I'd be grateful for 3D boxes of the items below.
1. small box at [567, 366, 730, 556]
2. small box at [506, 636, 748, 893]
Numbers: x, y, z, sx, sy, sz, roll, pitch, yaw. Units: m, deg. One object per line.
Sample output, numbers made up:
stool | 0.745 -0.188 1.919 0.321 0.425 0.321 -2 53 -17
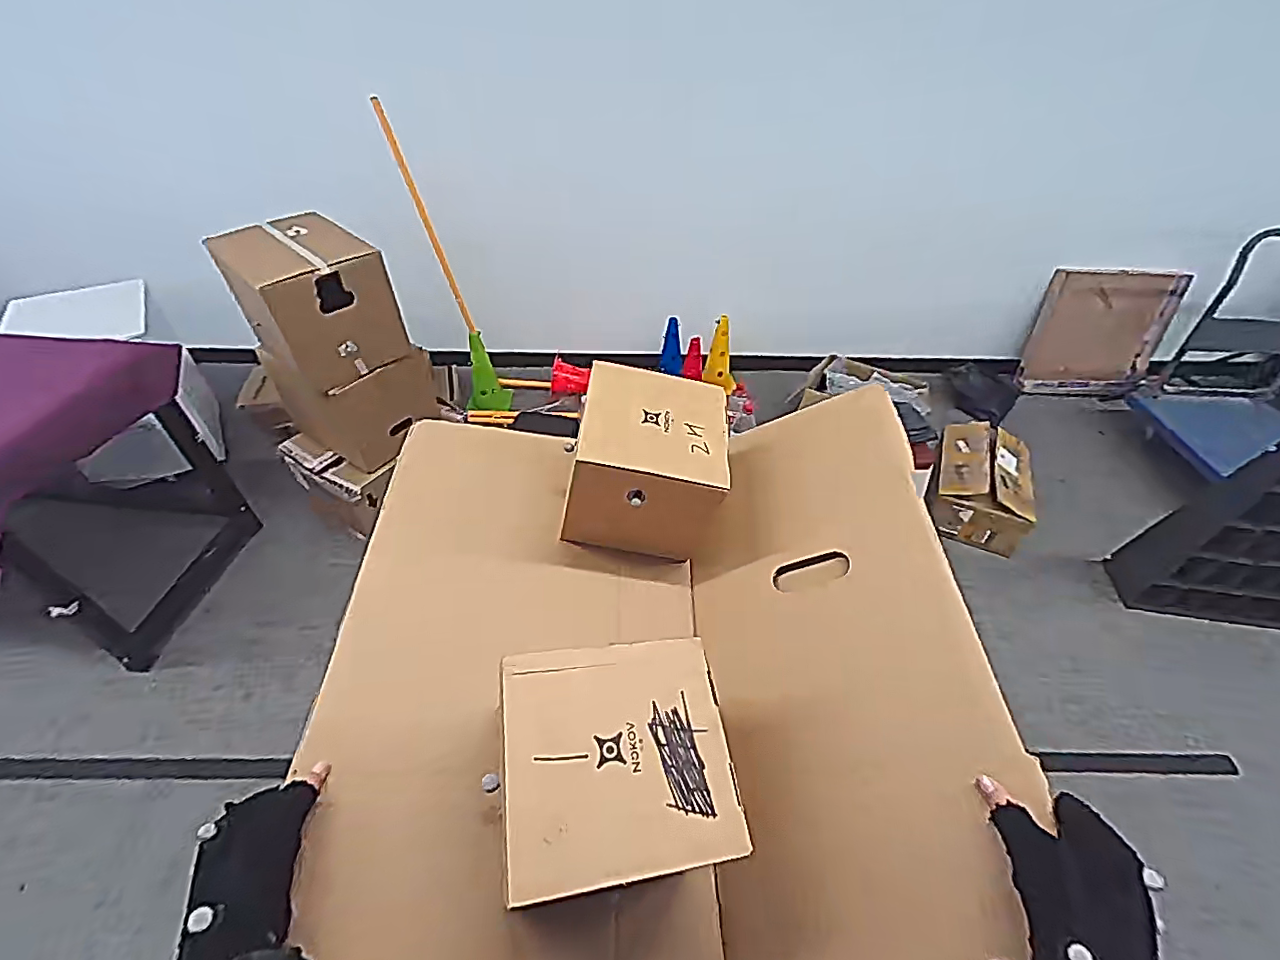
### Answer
small box | 0.007 -0.018 0.708 0.179 0.176 0.168 12 52 -7
small box | -0.030 0.255 0.492 0.179 0.176 0.168 -1 55 -15
